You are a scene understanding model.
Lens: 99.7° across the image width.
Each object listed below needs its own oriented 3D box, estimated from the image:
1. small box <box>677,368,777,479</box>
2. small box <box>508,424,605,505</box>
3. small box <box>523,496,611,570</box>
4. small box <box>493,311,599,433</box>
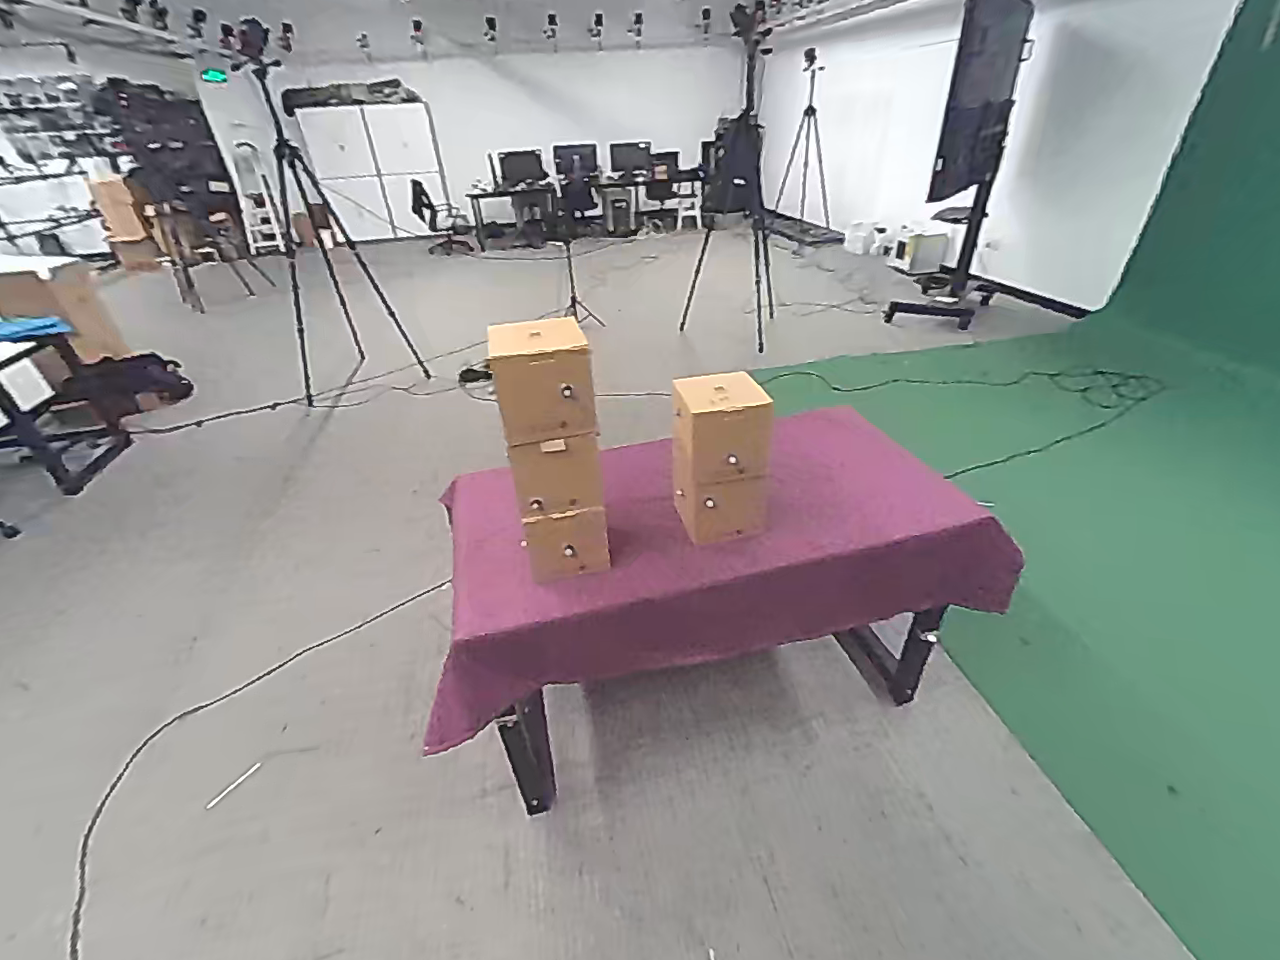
[{"bbox_3d":[0.174,-0.121,1.144,0.168,0.176,0.179,-8,35,-6],"label":"small box"},{"bbox_3d":[-0.166,-0.063,1.084,0.168,0.176,0.179,-8,34,-8],"label":"small box"},{"bbox_3d":[-0.160,0.078,1.171,0.168,0.176,0.179,-8,35,-9],"label":"small box"},{"bbox_3d":[-0.172,-0.195,0.990,0.168,0.176,0.179,-9,34,-10],"label":"small box"}]
